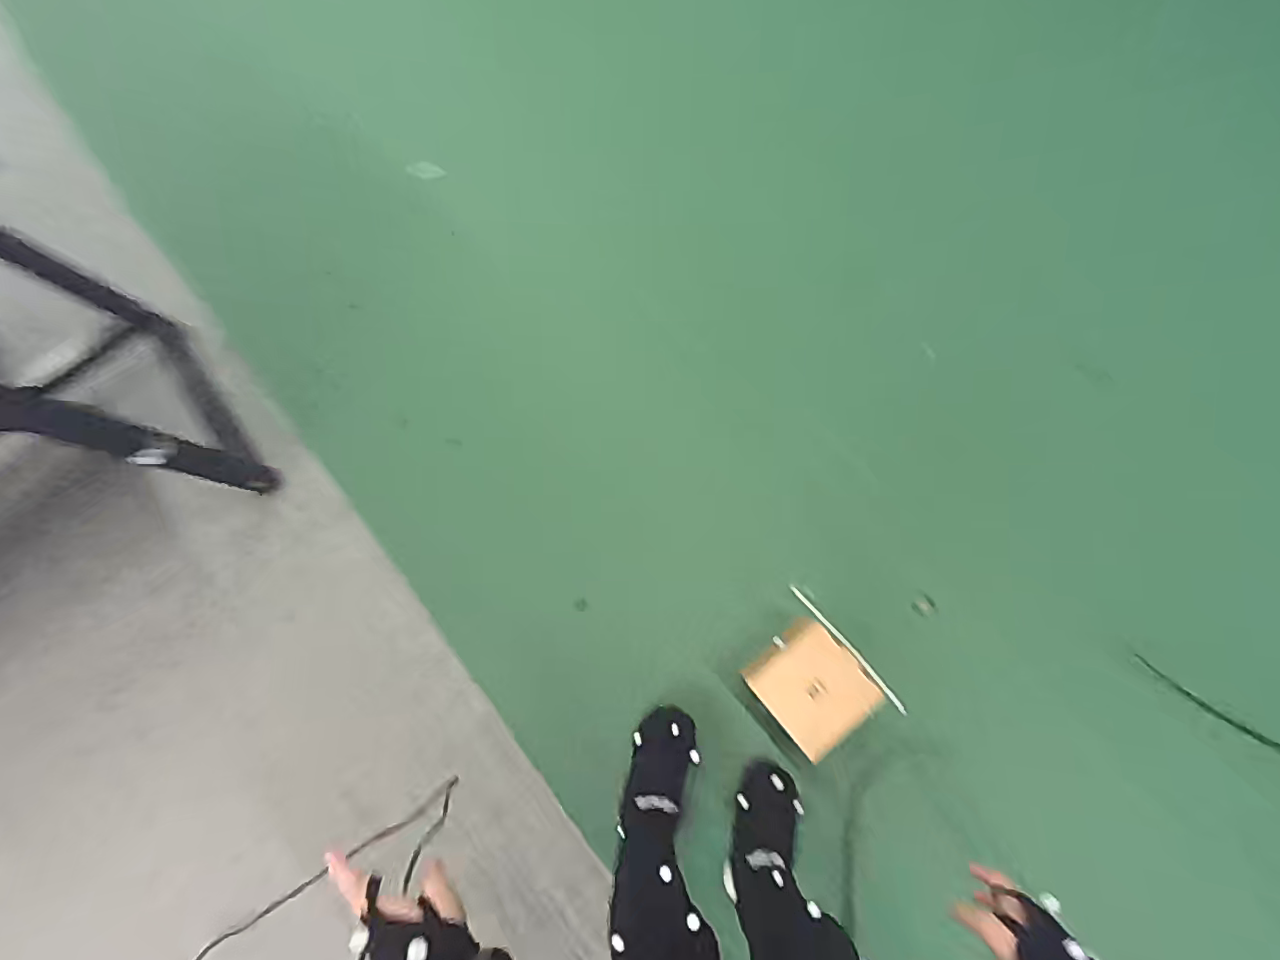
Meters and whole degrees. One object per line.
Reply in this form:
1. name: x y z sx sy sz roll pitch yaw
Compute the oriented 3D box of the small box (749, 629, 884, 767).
1. small box: 0.325 0.408 1.041 0.179 0.176 0.168 -39 76 -5
